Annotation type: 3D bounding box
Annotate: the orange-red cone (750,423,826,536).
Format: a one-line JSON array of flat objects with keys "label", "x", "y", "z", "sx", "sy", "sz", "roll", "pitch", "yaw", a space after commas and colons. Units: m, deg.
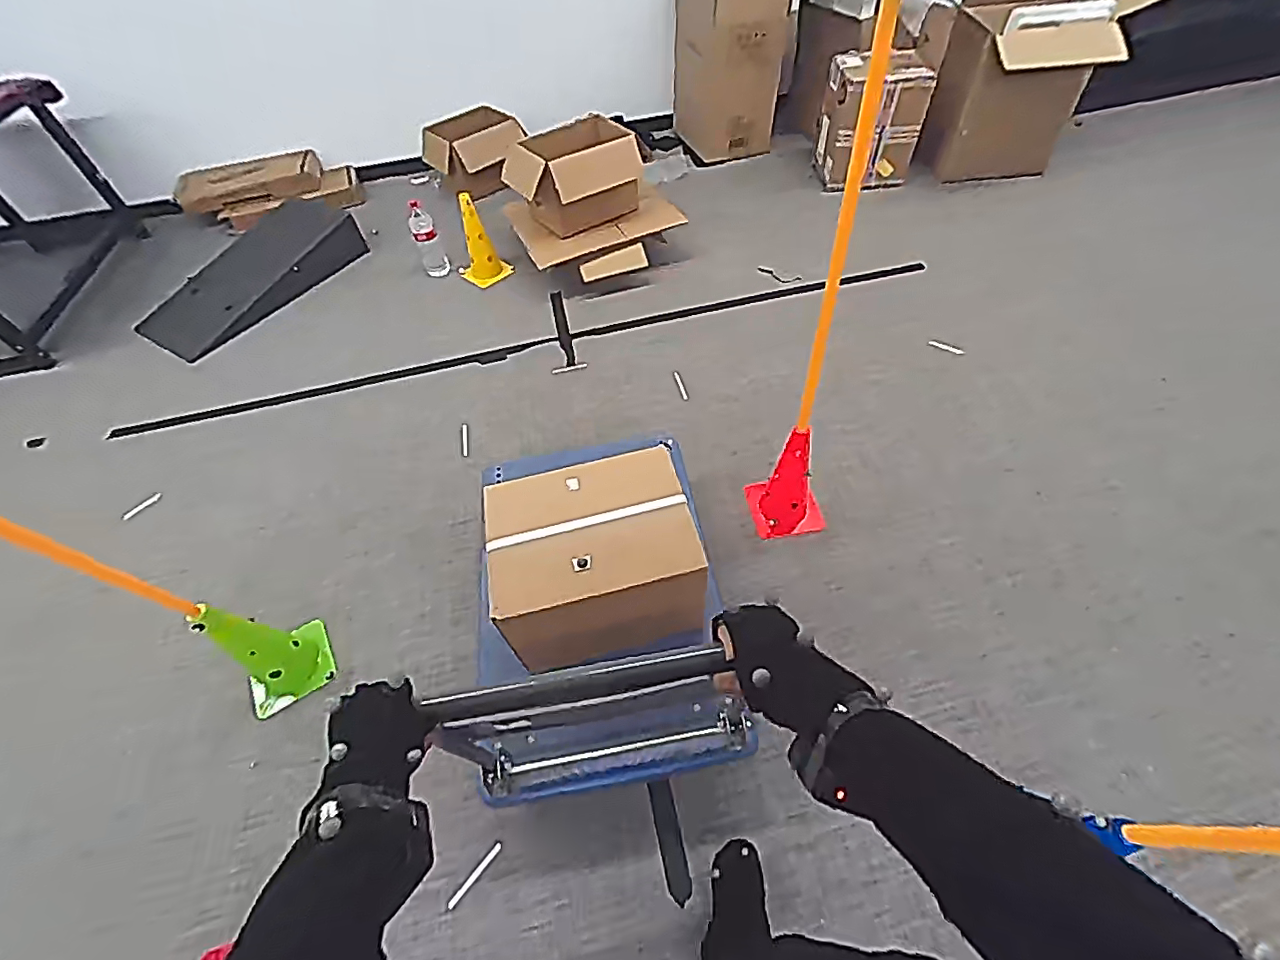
[{"label": "orange-red cone", "x": 0.434, "y": -0.025, "z": 1.502, "sx": 0.199, "sy": 0.360, "sz": 0.198, "roll": -7, "pitch": 53, "yaw": -2}]
